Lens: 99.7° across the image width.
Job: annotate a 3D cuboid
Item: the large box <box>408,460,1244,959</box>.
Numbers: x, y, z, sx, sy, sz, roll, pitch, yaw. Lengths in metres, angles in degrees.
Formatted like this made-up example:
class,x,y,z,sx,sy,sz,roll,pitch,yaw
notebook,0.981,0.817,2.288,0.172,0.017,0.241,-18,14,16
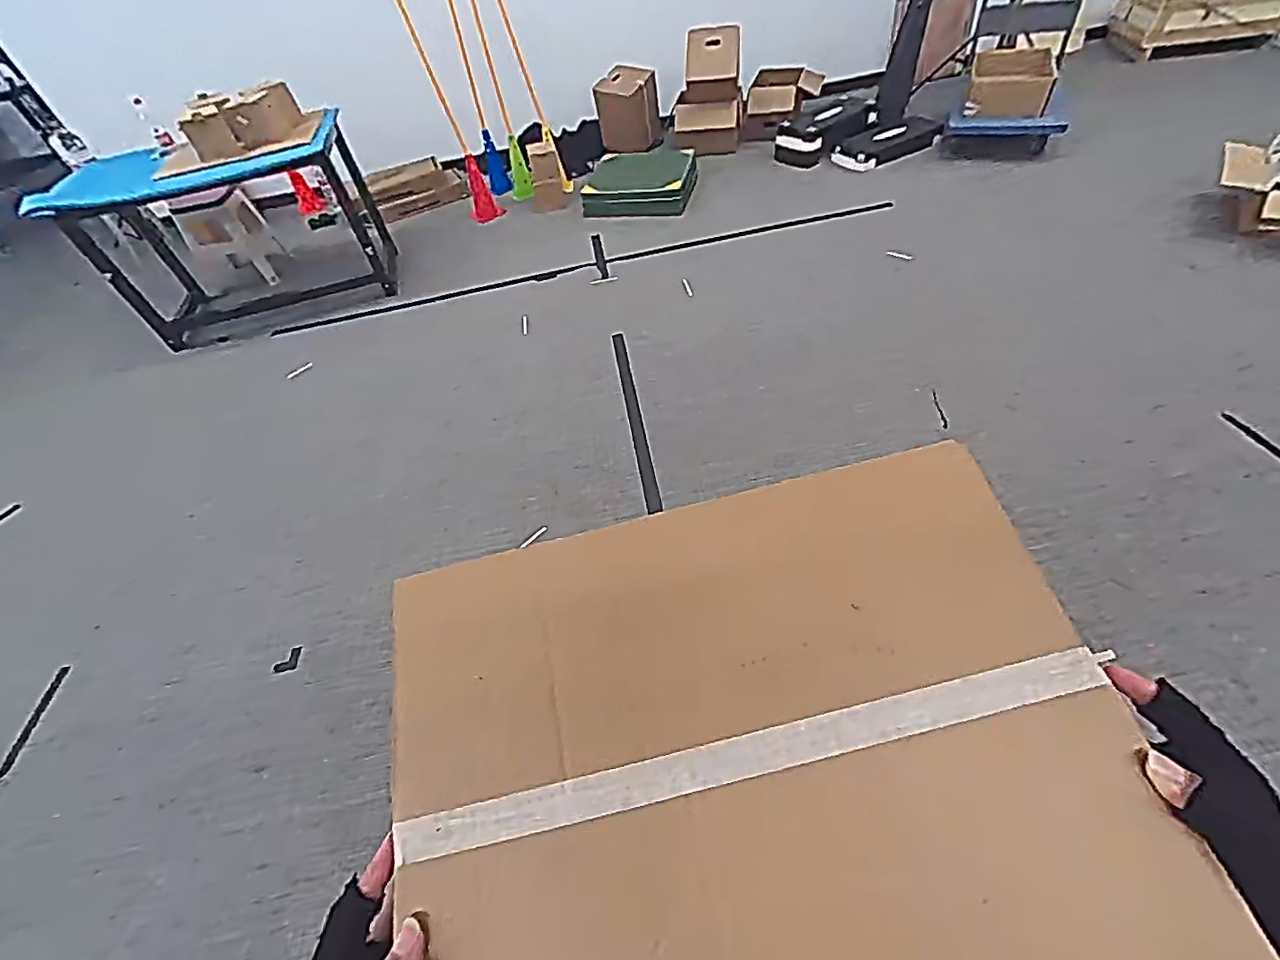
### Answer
class,x,y,z,sx,sy,sz,roll,pitch,yaw
large box,0.080,0.231,0.442,0.408,0.320,0.320,-14,61,0
